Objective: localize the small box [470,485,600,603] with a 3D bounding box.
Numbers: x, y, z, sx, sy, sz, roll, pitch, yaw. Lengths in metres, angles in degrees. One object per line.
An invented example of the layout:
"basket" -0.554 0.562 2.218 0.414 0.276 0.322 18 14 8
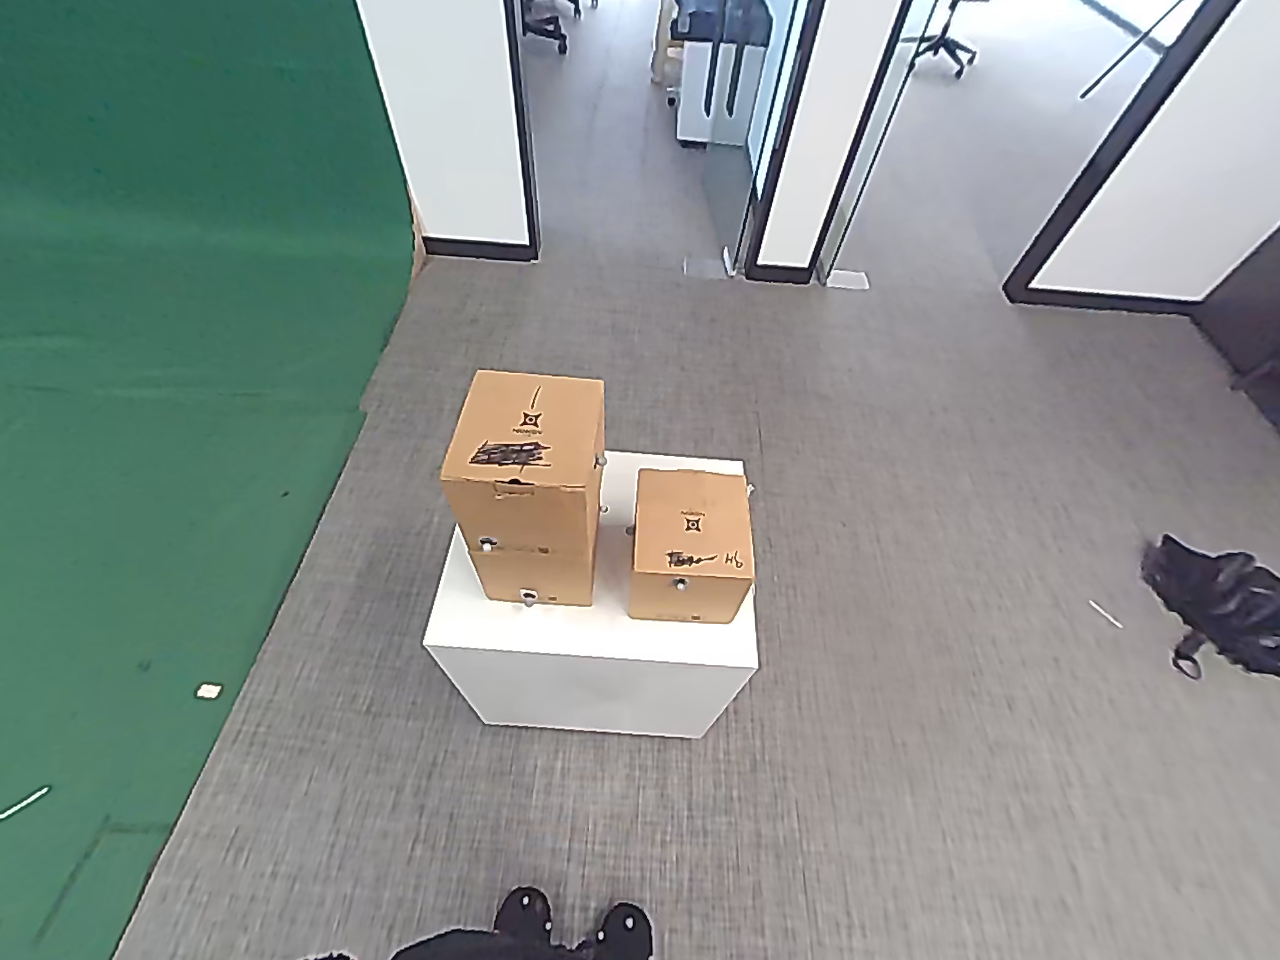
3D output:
"small box" -0.149 0.073 0.835 0.168 0.176 0.179 2 55 -2

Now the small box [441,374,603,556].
"small box" -0.139 -0.015 0.716 0.168 0.176 0.179 5 52 0

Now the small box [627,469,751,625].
"small box" 0.068 0.107 0.843 0.168 0.176 0.179 4 53 -1
